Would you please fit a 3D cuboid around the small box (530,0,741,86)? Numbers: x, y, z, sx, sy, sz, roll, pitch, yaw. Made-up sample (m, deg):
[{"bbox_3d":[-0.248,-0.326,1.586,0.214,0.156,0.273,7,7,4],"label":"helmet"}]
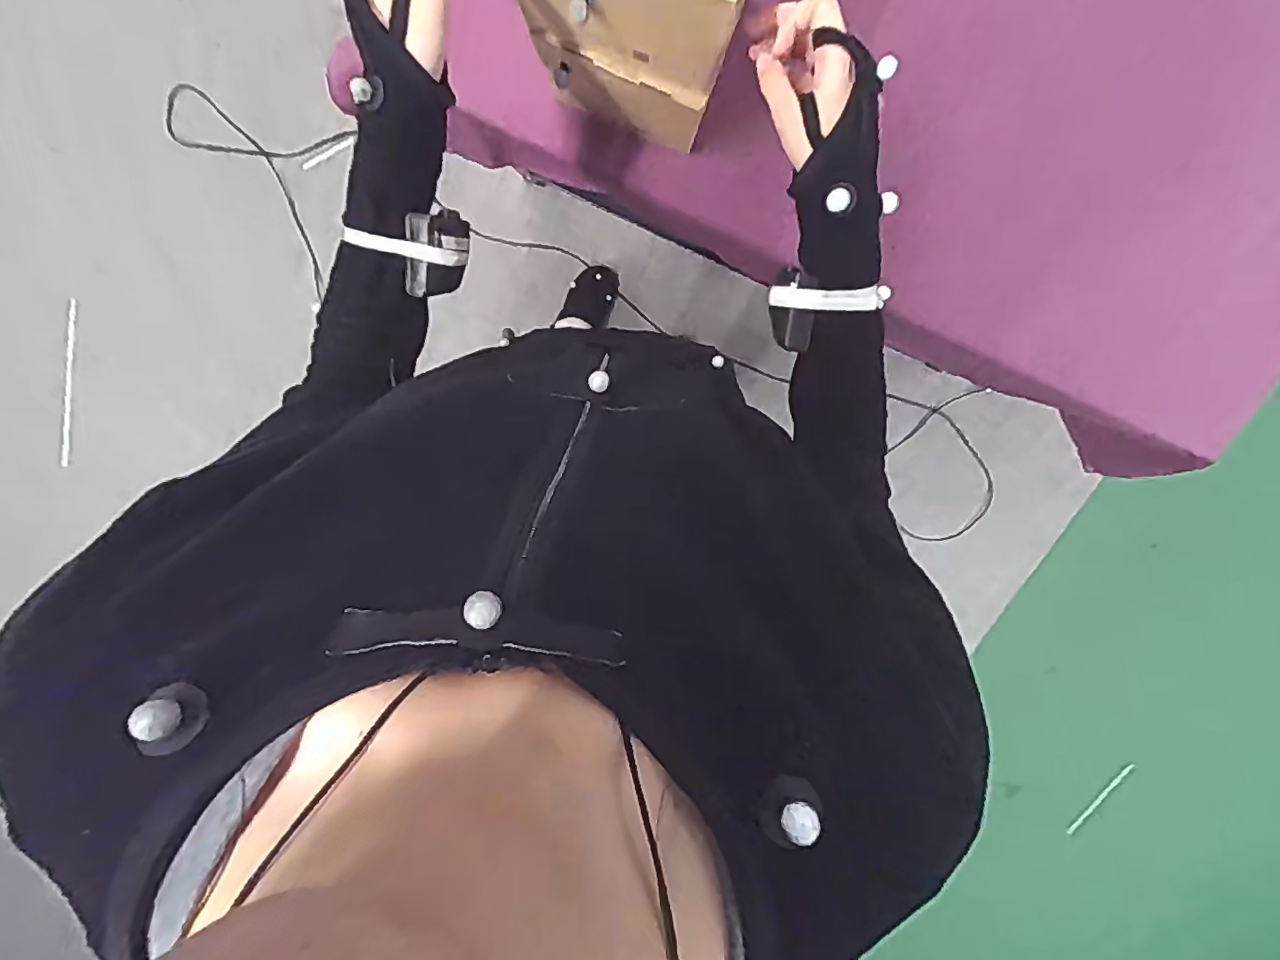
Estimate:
[{"bbox_3d":[0.008,-0.410,0.361,0.168,0.176,0.179,18,107,-6],"label":"small box"}]
